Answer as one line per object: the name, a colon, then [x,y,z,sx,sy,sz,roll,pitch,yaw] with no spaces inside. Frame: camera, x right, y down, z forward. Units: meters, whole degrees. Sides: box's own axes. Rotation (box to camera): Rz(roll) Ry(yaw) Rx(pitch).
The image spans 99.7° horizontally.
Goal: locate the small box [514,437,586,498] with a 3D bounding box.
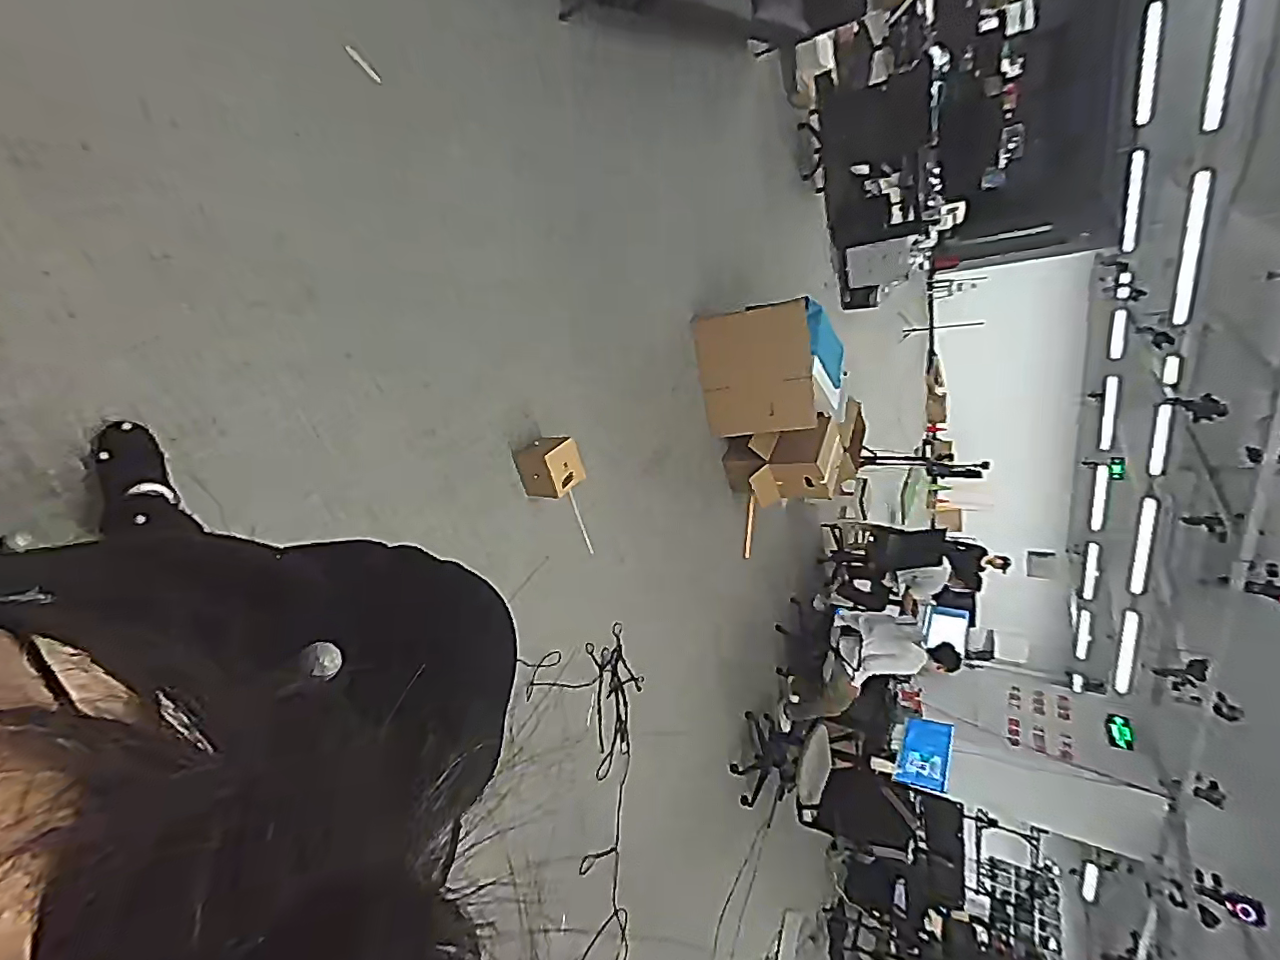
small box: [-0.334,-0.051,2.013,0.168,0.176,0.179,-43,125,-46]
